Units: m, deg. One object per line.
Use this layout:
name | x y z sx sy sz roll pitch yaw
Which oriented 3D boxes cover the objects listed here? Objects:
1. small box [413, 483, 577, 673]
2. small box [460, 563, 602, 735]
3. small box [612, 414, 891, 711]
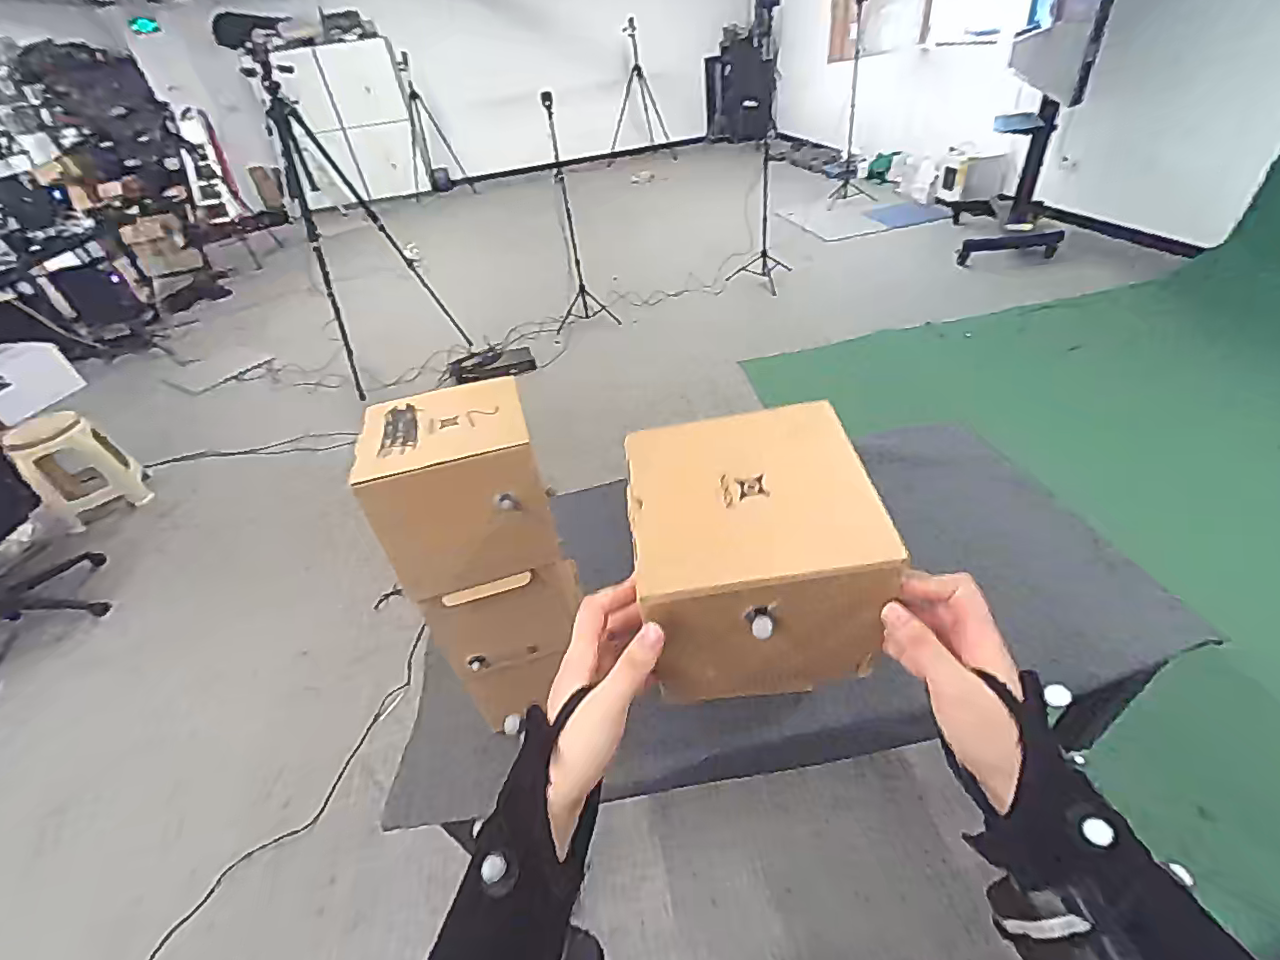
small box | -0.191 0.136 0.735 0.168 0.176 0.179 -15 37 -8
small box | -0.160 0.261 0.838 0.179 0.176 0.168 -14 37 -4
small box | 0.081 0.073 0.455 0.179 0.176 0.168 -11 45 4
